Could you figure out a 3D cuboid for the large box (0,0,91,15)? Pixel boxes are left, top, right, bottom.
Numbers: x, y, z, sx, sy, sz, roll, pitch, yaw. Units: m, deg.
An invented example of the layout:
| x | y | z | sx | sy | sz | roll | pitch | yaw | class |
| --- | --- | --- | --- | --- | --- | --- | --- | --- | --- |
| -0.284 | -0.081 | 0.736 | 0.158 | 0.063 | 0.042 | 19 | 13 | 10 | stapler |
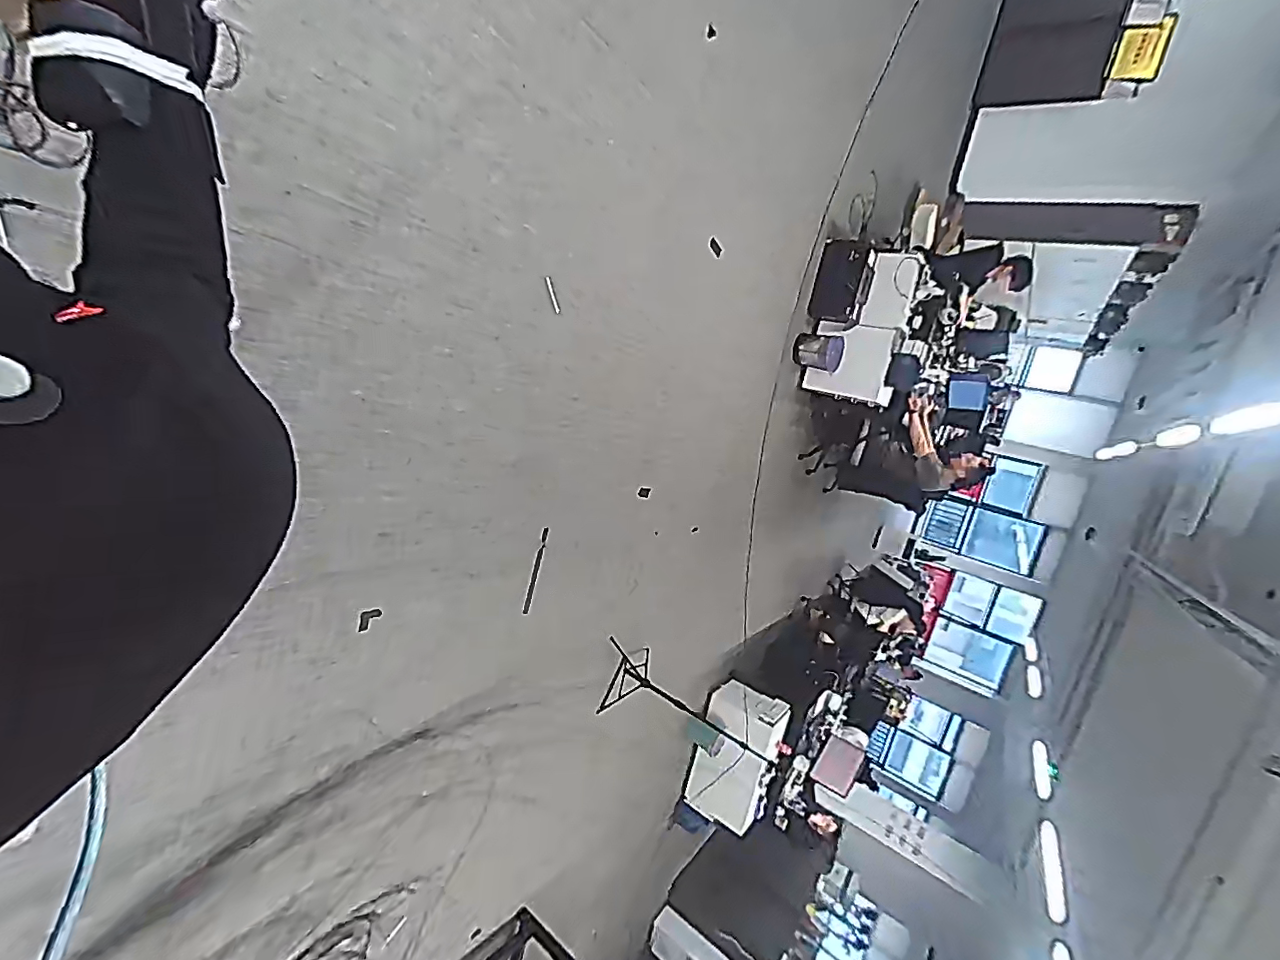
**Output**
| x | y | z | sx | sy | sz | roll | pitch | yaw | class |
| --- | --- | --- | --- | --- | --- | --- | --- | --- | --- |
| -0.555 | -0.505 | 0.239 | 0.408 | 0.320 | 0.320 | -4 | 119 | -56 | large box |
